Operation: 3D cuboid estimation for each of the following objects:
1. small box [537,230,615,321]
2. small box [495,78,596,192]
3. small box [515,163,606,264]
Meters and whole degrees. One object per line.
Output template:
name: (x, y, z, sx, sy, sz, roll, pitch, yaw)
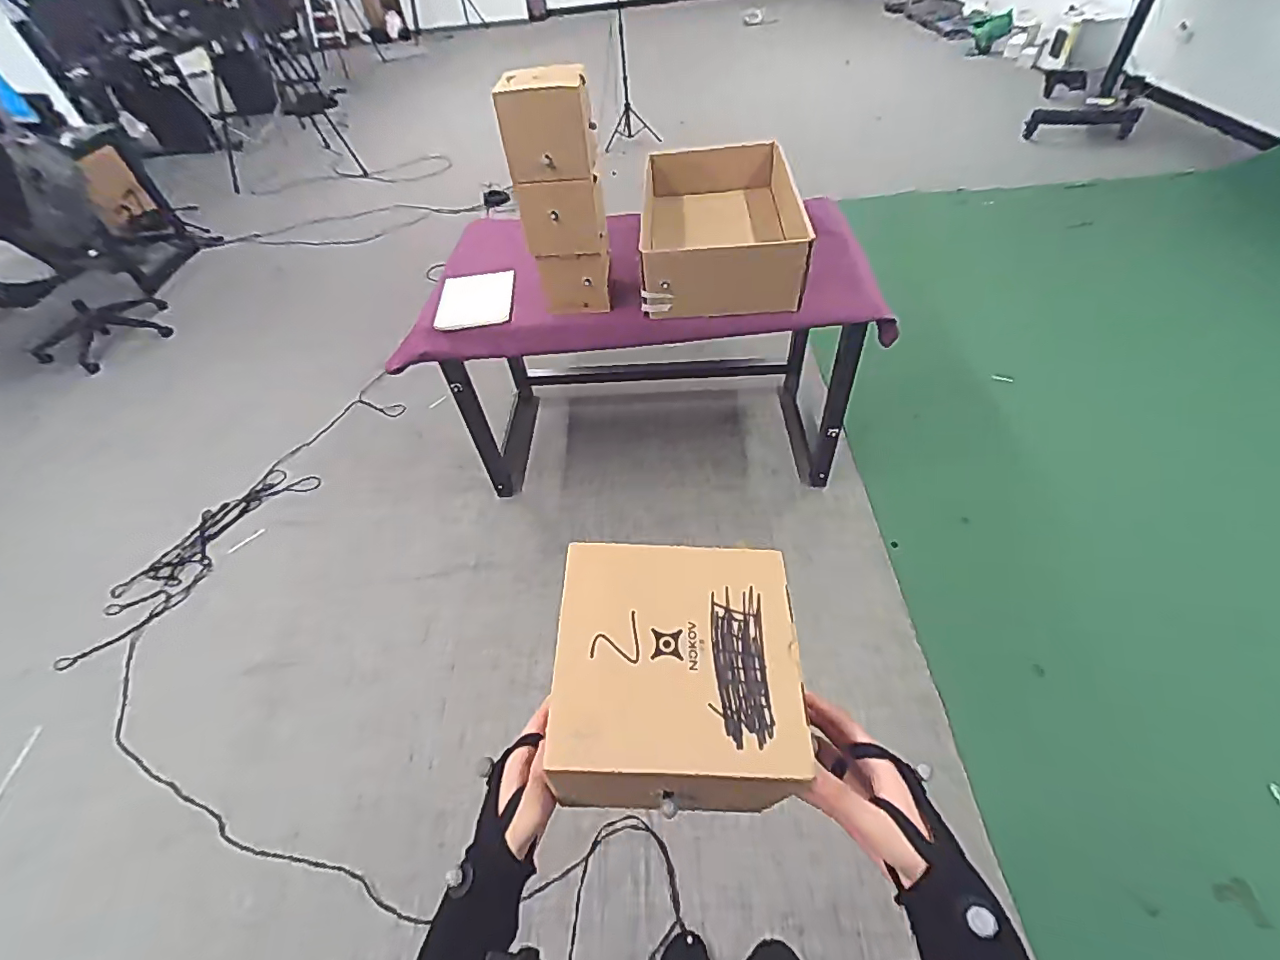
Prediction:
small box: (-0.160, -0.531, 1.416, 0.168, 0.176, 0.179, -1, 47, 4)
small box: (-0.192, -0.742, 1.166, 0.179, 0.176, 0.168, -1, 47, 4)
small box: (-0.180, -0.632, 1.288, 0.179, 0.176, 0.168, -2, 47, 5)
